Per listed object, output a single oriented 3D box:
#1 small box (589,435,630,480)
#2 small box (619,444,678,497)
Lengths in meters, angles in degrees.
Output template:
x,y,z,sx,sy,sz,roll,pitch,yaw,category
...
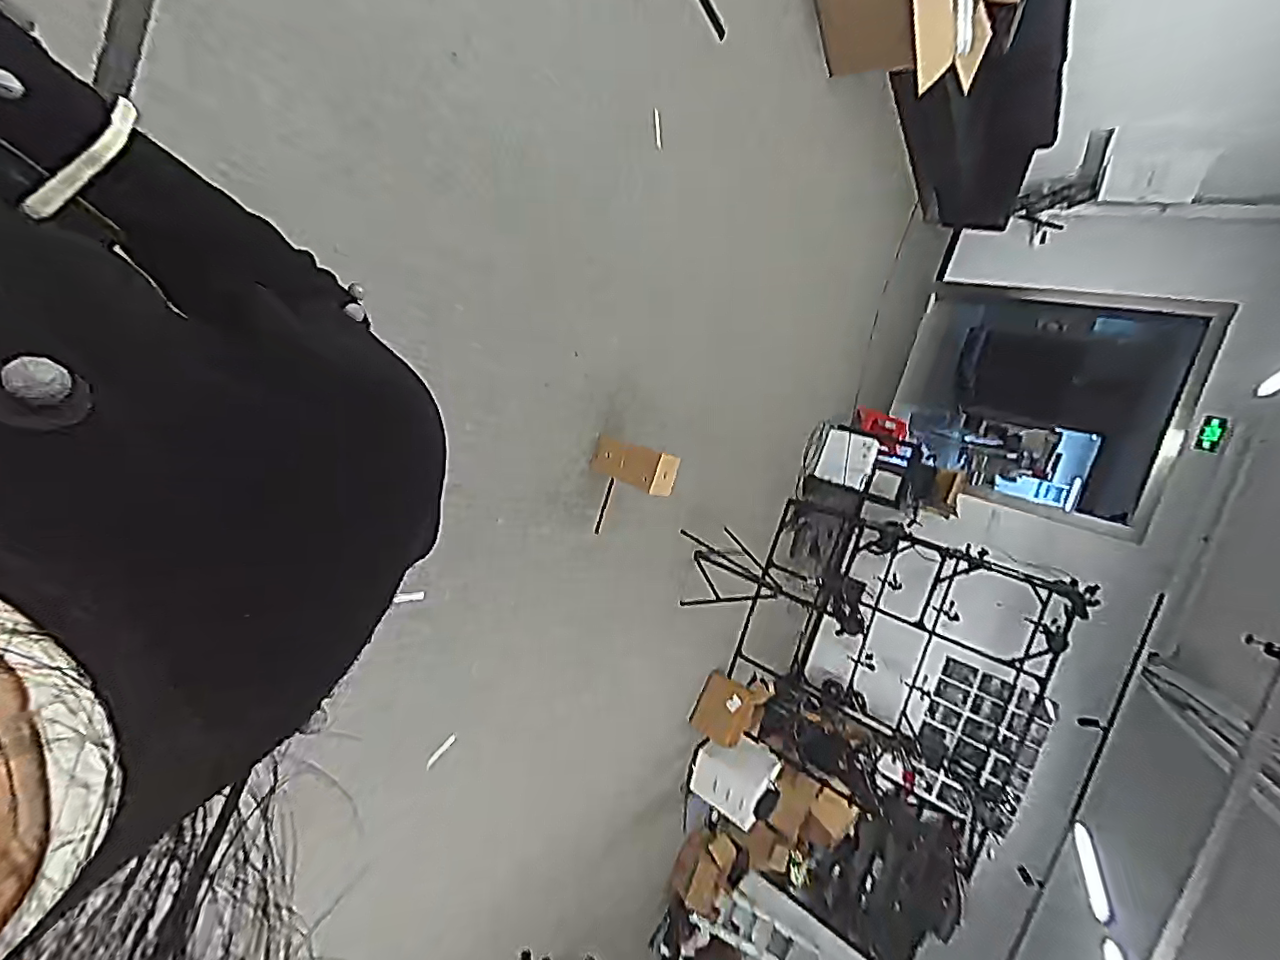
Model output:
x,y,z,sx,sy,sz,roll,pitch,yaw,category
-0.100,-0.093,2.399,0.179,0.176,0.168,14,96,-56,small box
0.031,-0.041,2.310,0.168,0.176,0.179,12,97,-57,small box
